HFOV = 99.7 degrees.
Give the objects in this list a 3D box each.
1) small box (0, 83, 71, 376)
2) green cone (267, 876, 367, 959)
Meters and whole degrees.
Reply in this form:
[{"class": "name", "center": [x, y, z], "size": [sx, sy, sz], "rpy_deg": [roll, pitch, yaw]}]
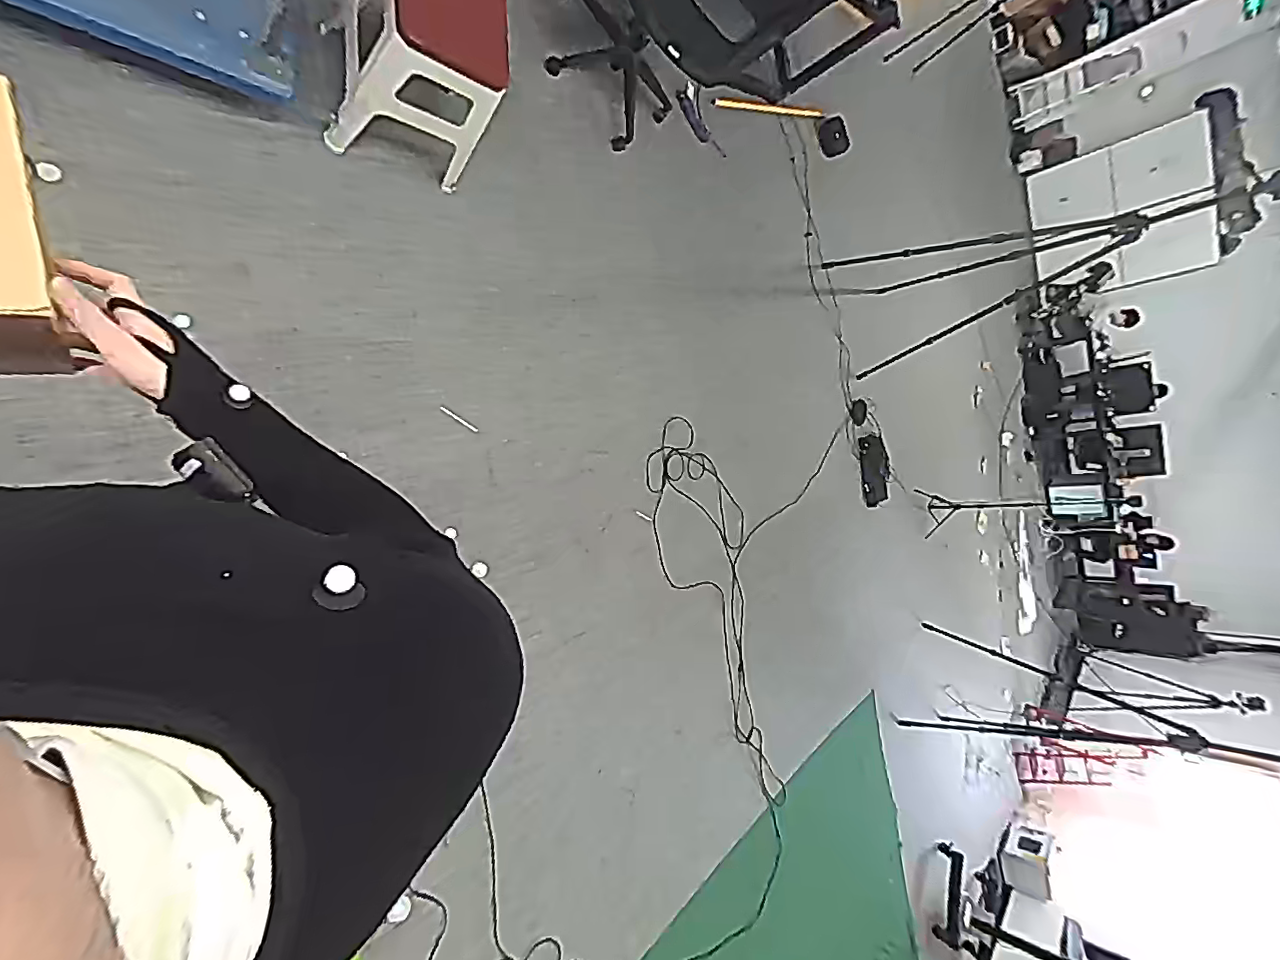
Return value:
[{"class": "small box", "center": [-0.557, -0.185, 0.398], "size": [0.168, 0.176, 0.179], "rpy_deg": [-10, 91, -42]}, {"class": "green cone", "center": [-0.726, 1.182, 1.301], "size": [0.202, 0.368, 0.200], "rpy_deg": [-20, 101, -43]}]
